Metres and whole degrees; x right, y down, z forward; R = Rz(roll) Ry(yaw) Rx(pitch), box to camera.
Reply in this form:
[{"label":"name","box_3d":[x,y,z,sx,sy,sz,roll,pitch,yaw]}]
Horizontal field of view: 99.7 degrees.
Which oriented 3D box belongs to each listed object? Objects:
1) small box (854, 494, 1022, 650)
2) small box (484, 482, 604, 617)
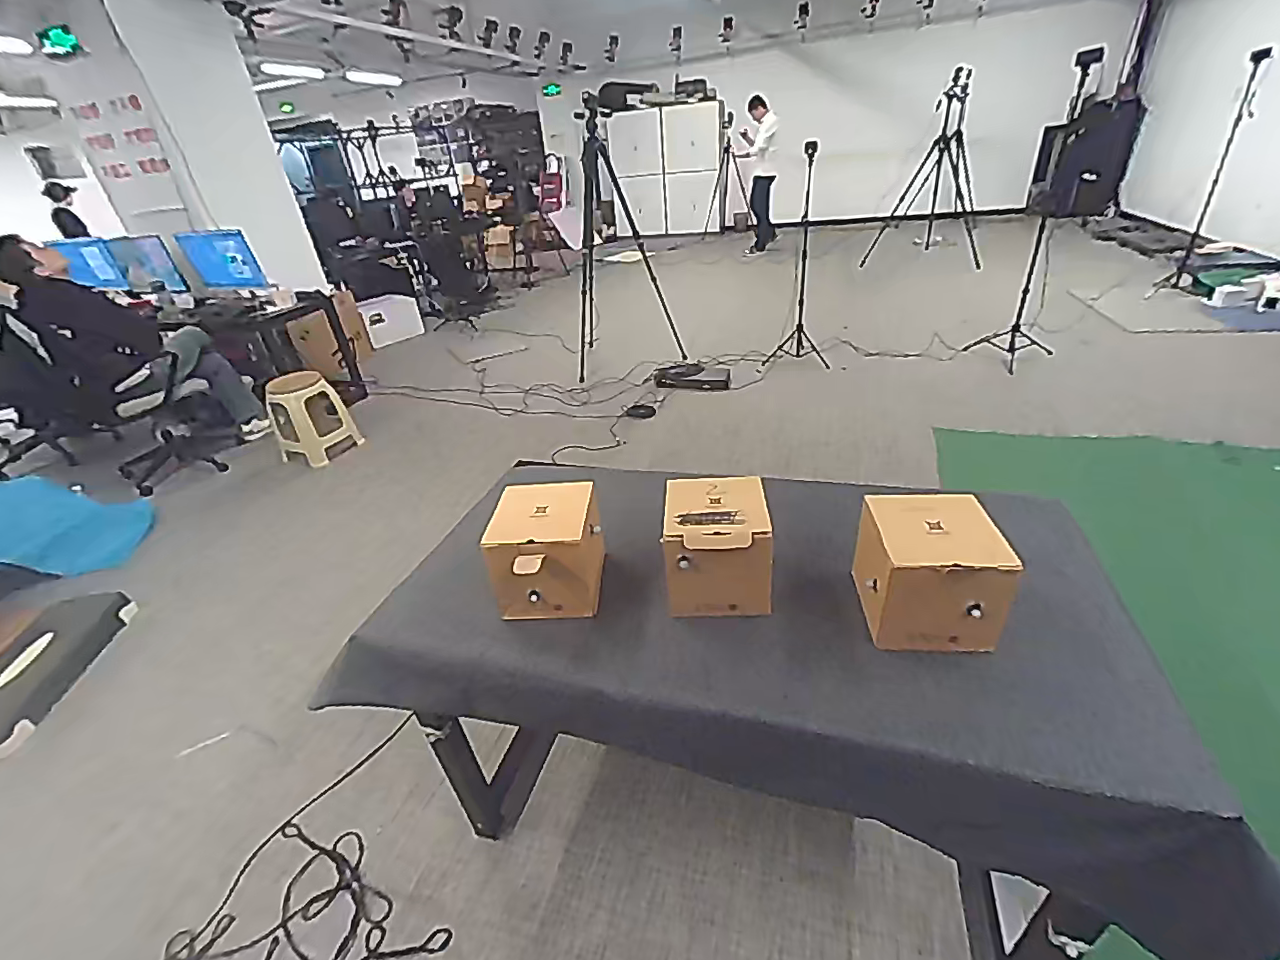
[{"label":"small box","box_3d":[0.436,0.138,0.826,0.168,0.176,0.179,0,31,8]},{"label":"small box","box_3d":[-0.158,0.121,0.959,0.168,0.176,0.179,-3,32,5]}]
